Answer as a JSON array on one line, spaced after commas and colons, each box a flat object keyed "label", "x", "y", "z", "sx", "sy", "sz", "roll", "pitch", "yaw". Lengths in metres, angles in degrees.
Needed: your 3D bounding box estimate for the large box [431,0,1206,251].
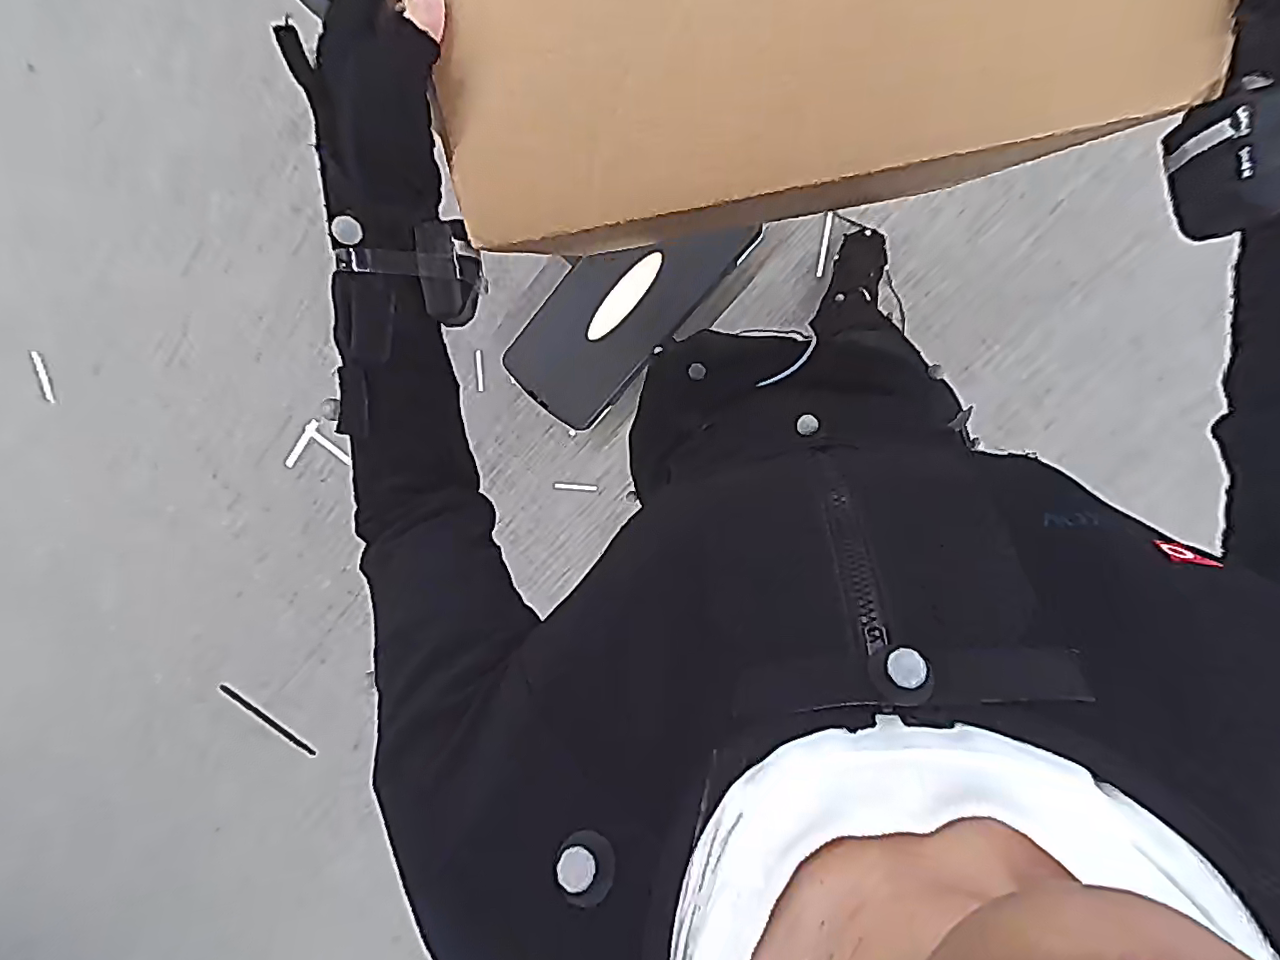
[{"label": "large box", "x": 0.084, "y": -0.377, "z": 0.402, "sx": 0.408, "sy": 0.320, "sz": 0.320, "roll": -7, "pitch": 111, "yaw": 9}]
